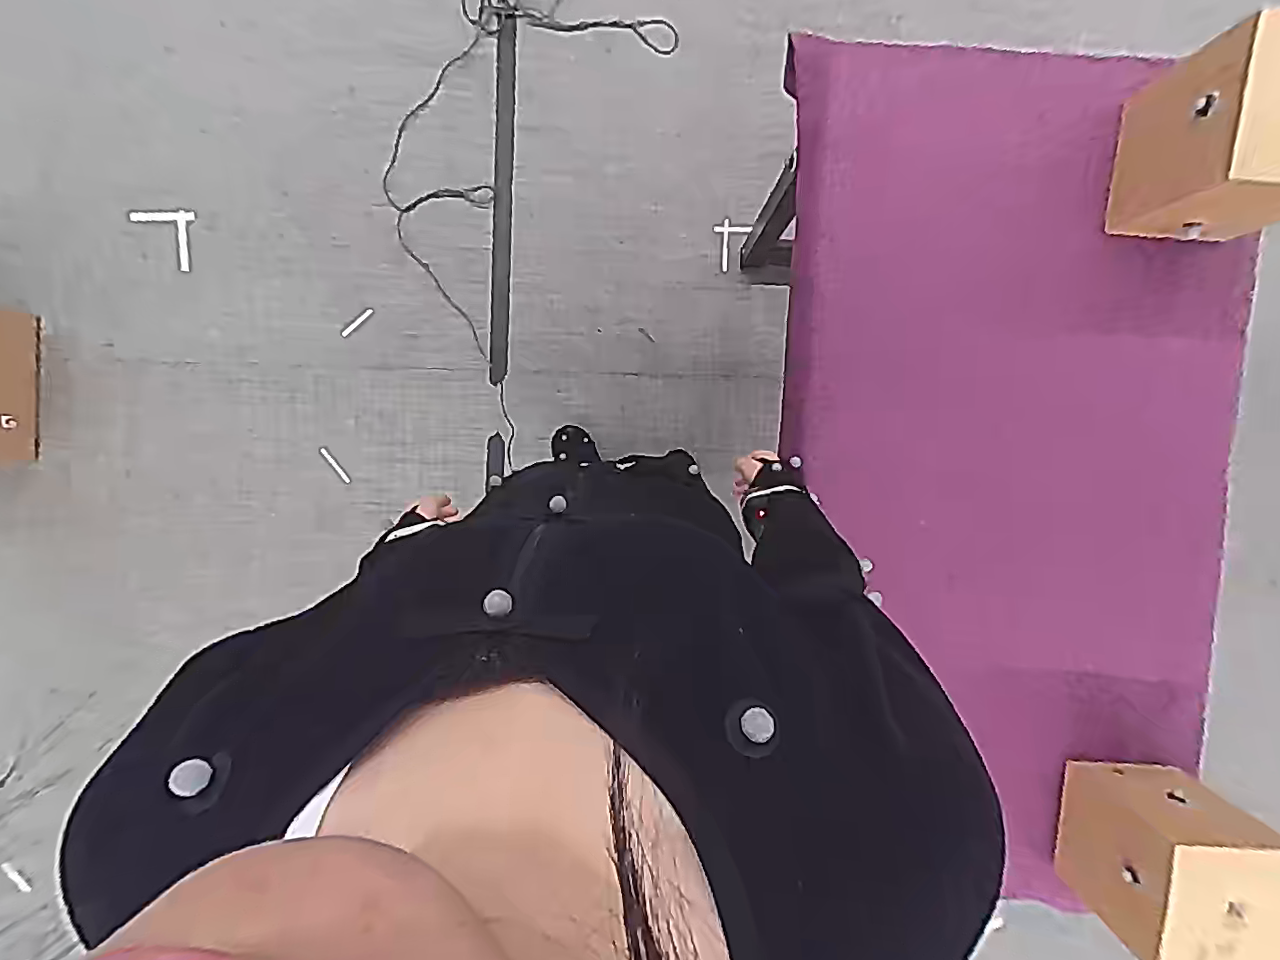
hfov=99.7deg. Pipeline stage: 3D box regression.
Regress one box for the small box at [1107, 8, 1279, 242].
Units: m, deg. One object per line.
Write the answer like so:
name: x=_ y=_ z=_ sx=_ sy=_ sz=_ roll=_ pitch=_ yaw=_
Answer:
small box: x=0.725 y=-0.414 z=0.657 sx=0.168 sy=0.176 sz=0.179 roll=5 pitch=96 yaw=1

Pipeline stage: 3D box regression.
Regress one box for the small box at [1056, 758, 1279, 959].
small box: x=0.710 y=0.506 z=0.734 sx=0.168 sy=0.176 sz=0.179 roll=3 pitch=95 yaw=0
